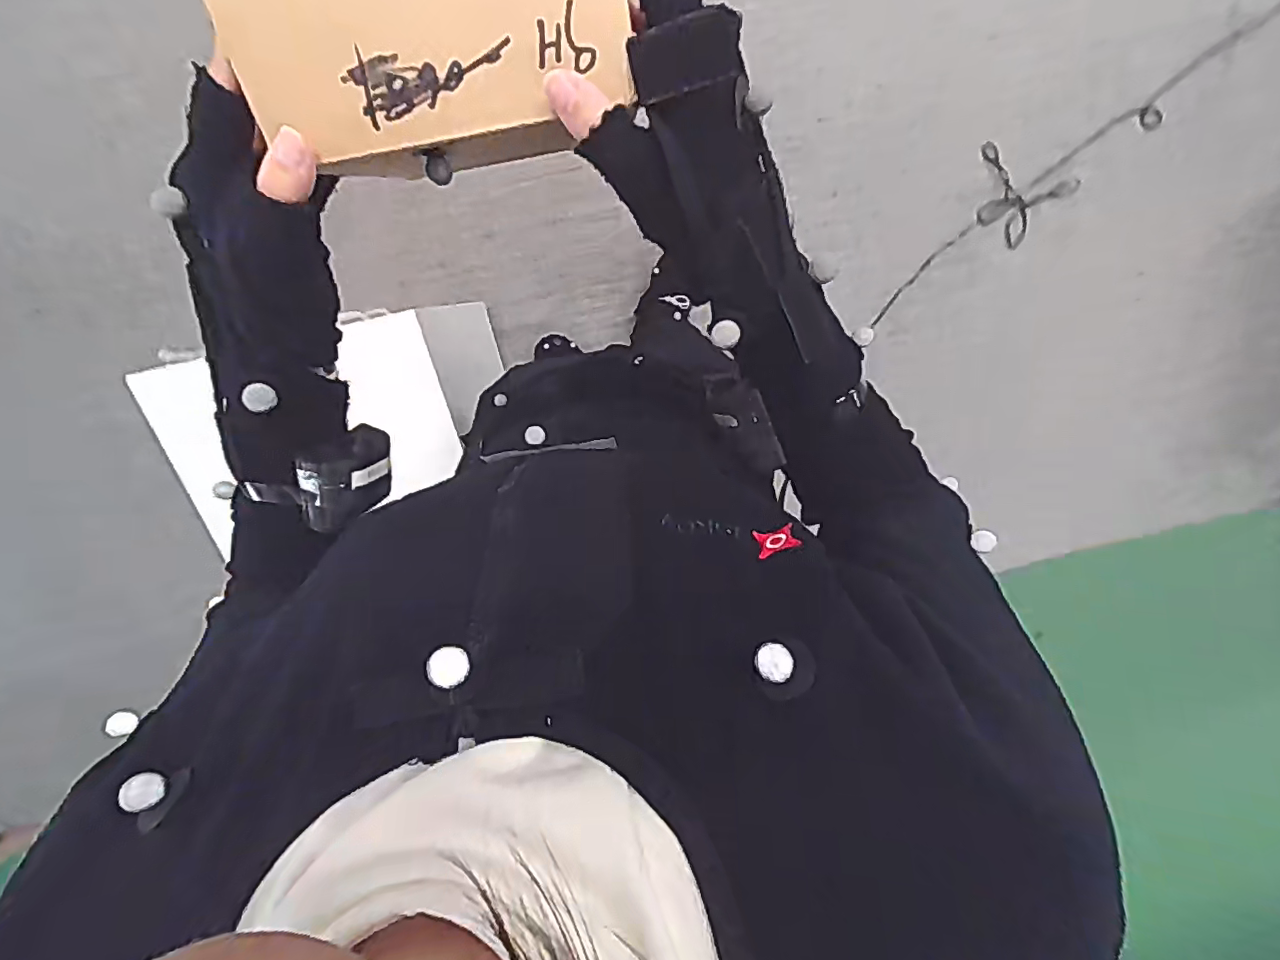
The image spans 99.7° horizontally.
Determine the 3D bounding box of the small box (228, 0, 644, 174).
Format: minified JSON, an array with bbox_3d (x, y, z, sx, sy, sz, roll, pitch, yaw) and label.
[{"bbox_3d":[-0.093,-0.270,0.274,0.168,0.176,0.179,-8,117,2],"label":"small box"}]
